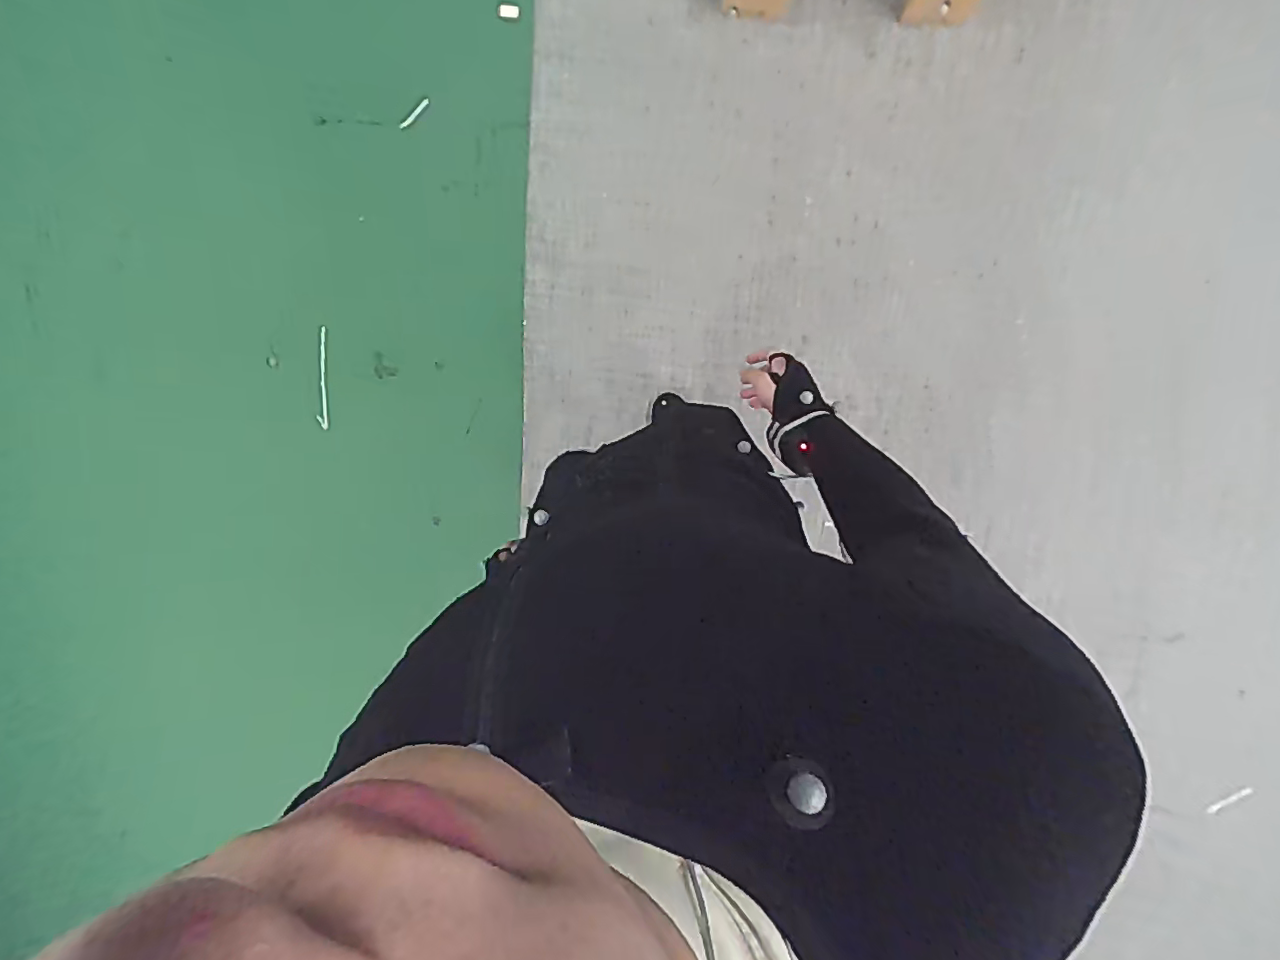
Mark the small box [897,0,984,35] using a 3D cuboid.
[{"bbox_3d":[0.720,-1.182,1.258,0.168,0.176,0.179,8,102,5],"label":"small box"}]
